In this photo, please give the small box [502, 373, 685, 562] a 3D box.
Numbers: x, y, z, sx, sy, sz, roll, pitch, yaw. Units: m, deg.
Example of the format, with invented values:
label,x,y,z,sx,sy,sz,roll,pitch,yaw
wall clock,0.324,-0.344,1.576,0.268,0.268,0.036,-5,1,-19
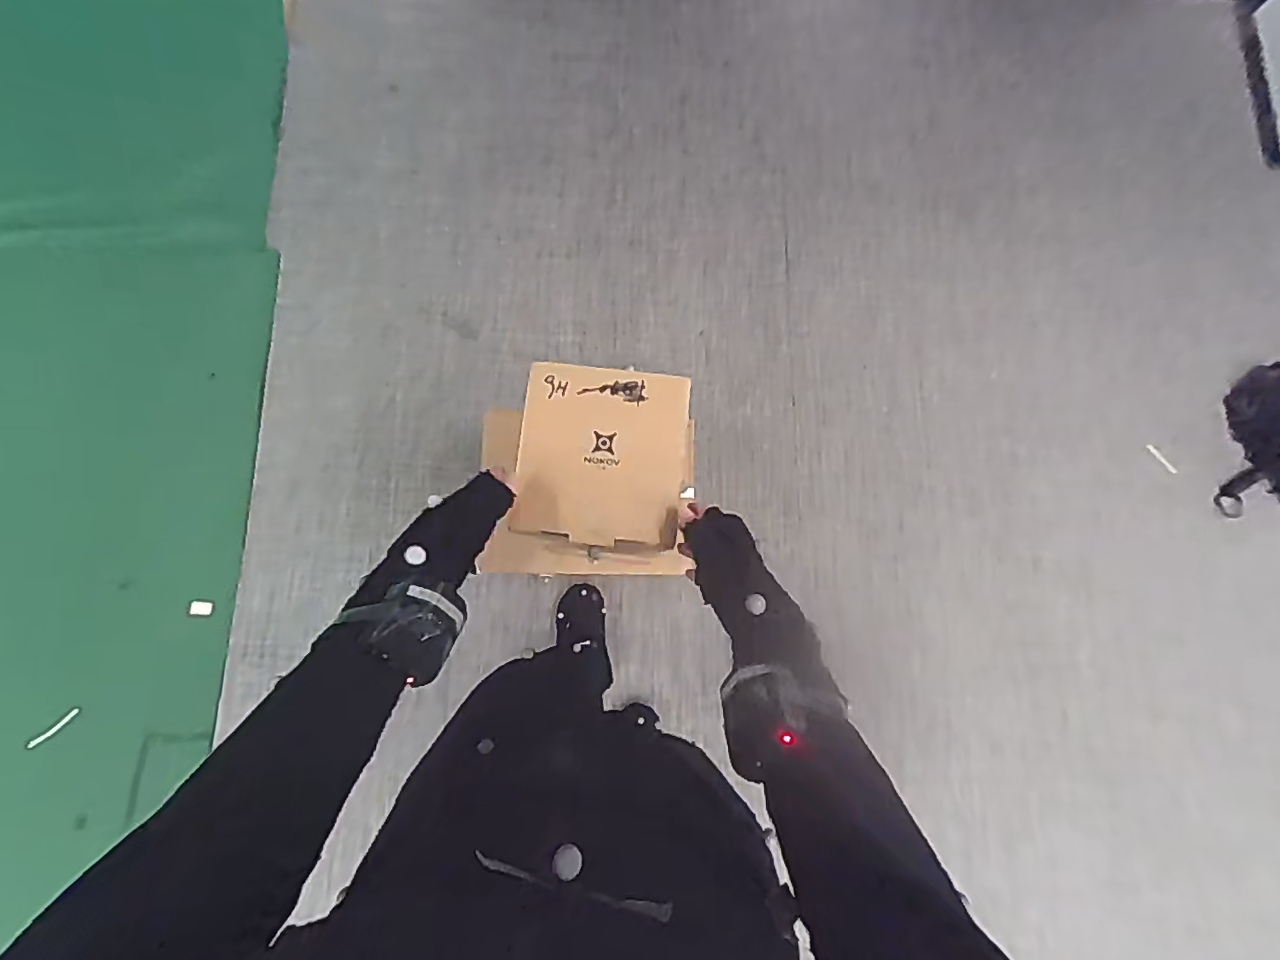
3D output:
label,x,y,z,sx,sy,sz,roll,pitch,yaw
small box,-0.048,-0.004,0.619,0.168,0.176,0.179,7,82,-2
